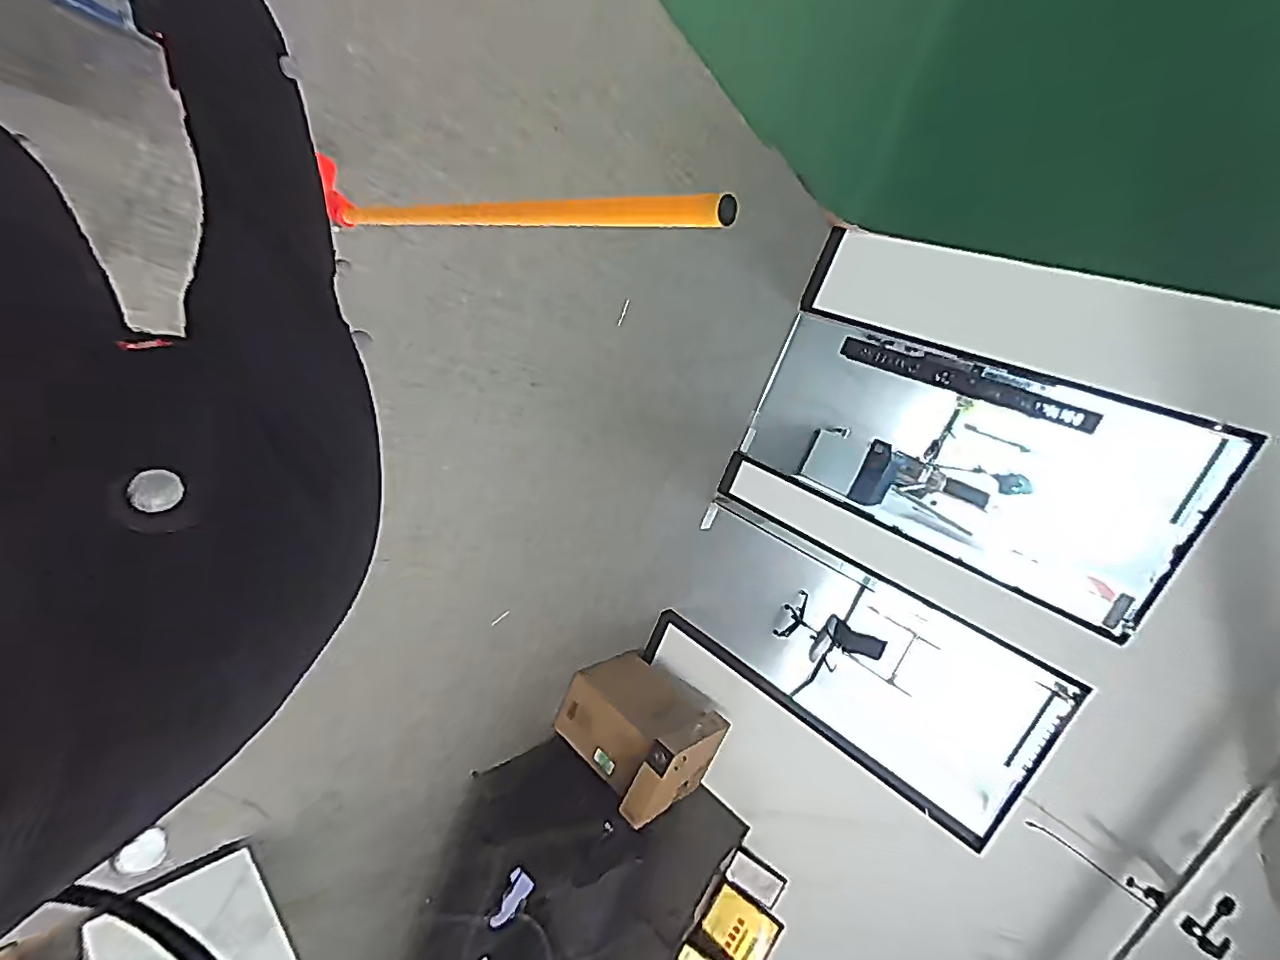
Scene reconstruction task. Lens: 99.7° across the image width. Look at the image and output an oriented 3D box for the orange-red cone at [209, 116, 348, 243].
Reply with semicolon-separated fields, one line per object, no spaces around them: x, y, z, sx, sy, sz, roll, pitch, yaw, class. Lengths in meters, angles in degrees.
-0.676;-0.568;1.076;0.199;0.360;0.198;5;111;-54;orange-red cone
